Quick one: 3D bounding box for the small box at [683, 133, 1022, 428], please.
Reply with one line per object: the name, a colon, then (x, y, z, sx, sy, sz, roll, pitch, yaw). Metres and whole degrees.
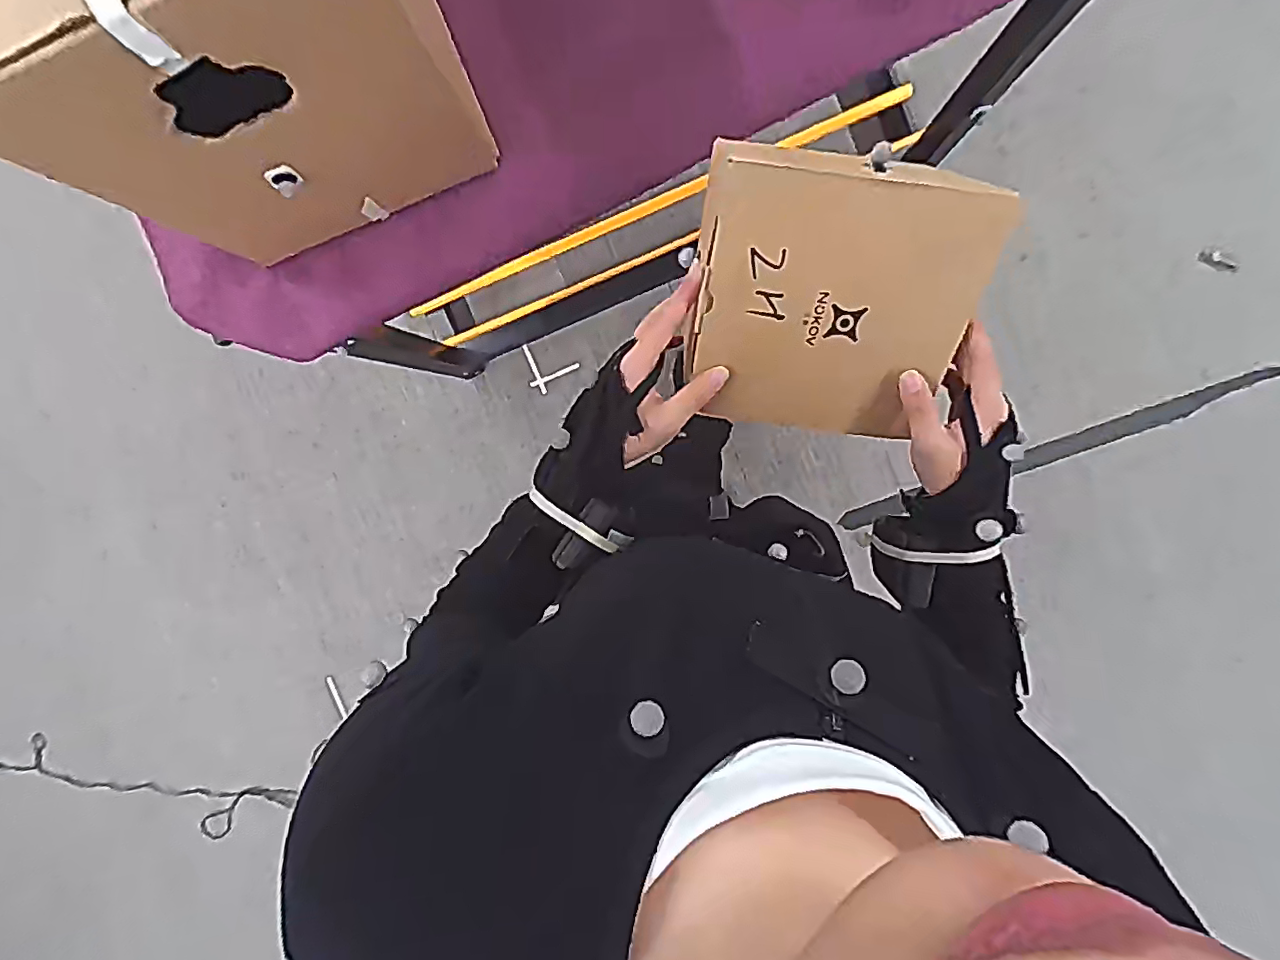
small box: (0.132, -0.160, 0.418, 0.179, 0.176, 0.168, 8, 125, 1)
